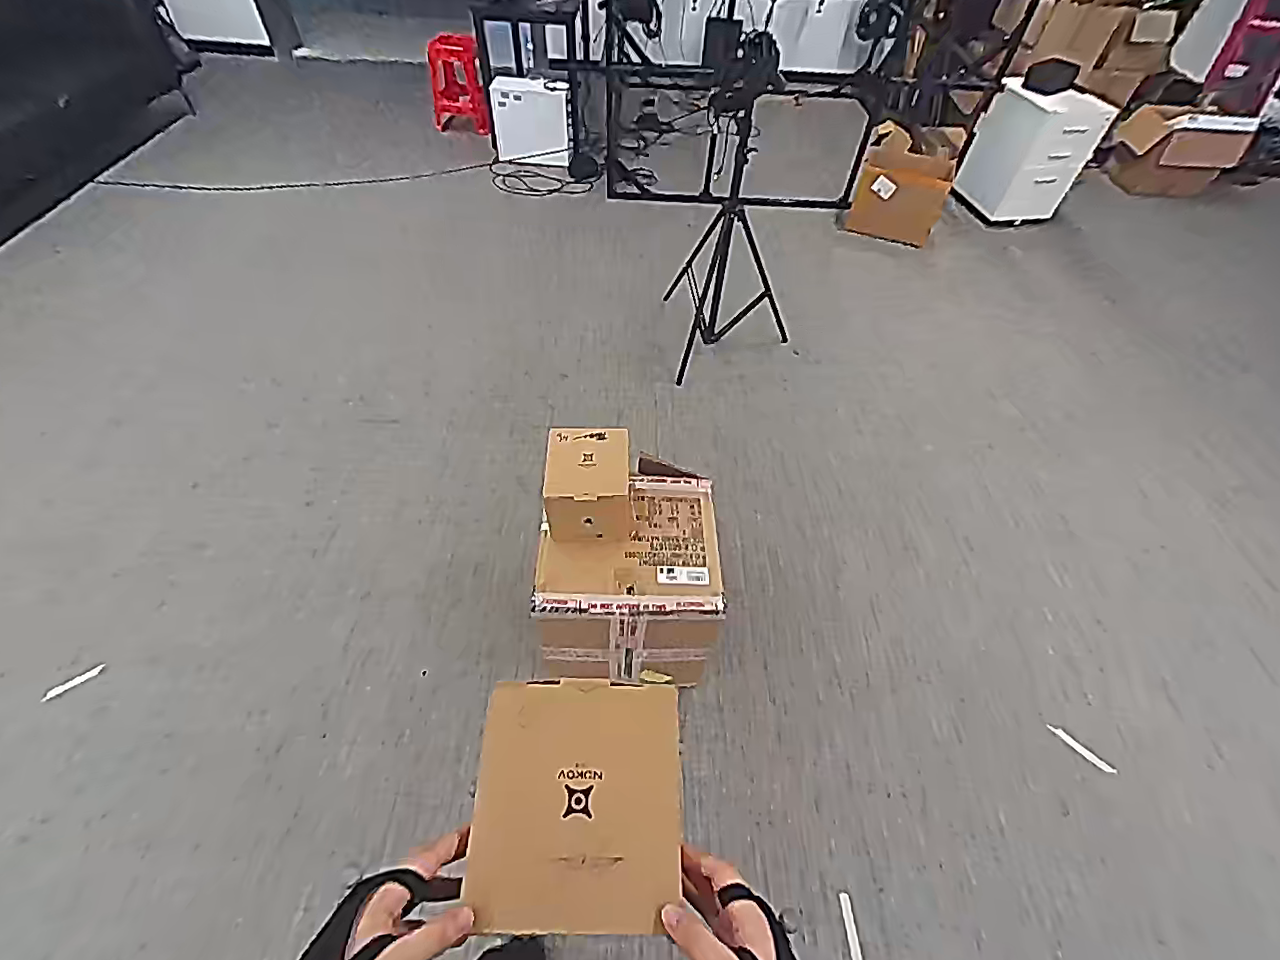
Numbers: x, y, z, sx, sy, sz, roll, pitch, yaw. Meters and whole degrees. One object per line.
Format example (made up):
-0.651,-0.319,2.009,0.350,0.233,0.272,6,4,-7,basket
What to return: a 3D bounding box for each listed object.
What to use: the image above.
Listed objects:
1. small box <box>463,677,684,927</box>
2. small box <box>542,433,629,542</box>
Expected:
-0.052,0.294,0.506,0.168,0.176,0.179,0,59,-2,small box
-0.107,0.021,1.138,0.168,0.176,0.179,0,55,-2,small box
